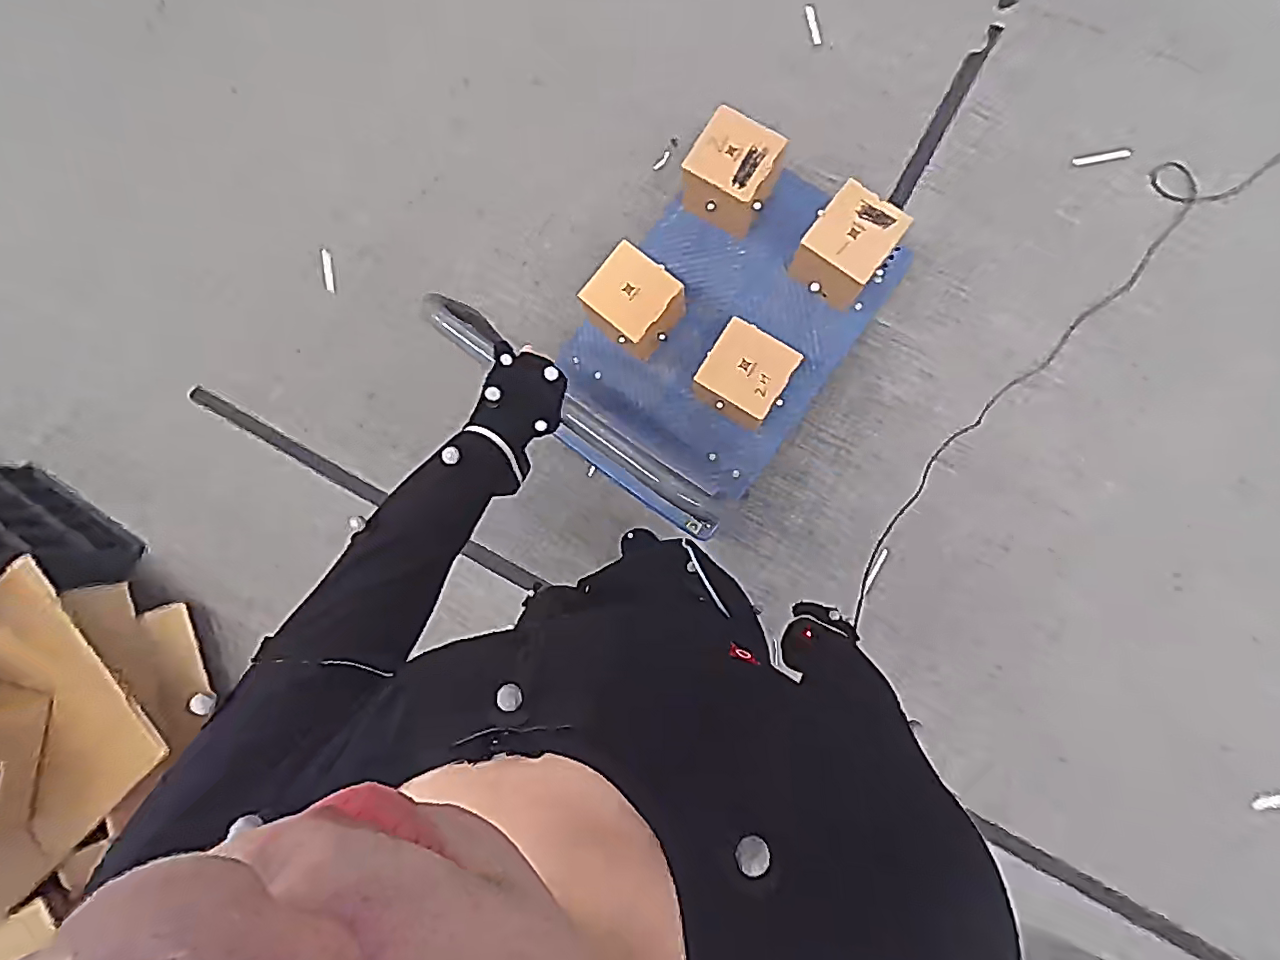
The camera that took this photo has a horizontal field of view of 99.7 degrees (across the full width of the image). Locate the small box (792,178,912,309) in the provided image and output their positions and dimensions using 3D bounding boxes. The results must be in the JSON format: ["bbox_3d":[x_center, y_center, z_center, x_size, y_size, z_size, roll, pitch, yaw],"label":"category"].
[{"bbox_3d":[0.466,-0.524,1.223,0.168,0.176,0.179,38,92,7],"label":"small box"}]

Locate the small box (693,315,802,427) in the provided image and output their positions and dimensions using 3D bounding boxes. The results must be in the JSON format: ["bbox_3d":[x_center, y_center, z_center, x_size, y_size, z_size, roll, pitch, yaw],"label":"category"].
[{"bbox_3d":[0.236,-0.237,1.231,0.179,0.176,0.168,33,91,7],"label":"small box"}]

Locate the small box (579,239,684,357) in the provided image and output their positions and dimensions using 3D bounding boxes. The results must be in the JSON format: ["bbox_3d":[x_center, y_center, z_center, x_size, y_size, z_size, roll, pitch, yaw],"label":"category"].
[{"bbox_3d":[-0.015,-0.415,1.269,0.179,0.176,0.168,40,91,5],"label":"small box"}]
